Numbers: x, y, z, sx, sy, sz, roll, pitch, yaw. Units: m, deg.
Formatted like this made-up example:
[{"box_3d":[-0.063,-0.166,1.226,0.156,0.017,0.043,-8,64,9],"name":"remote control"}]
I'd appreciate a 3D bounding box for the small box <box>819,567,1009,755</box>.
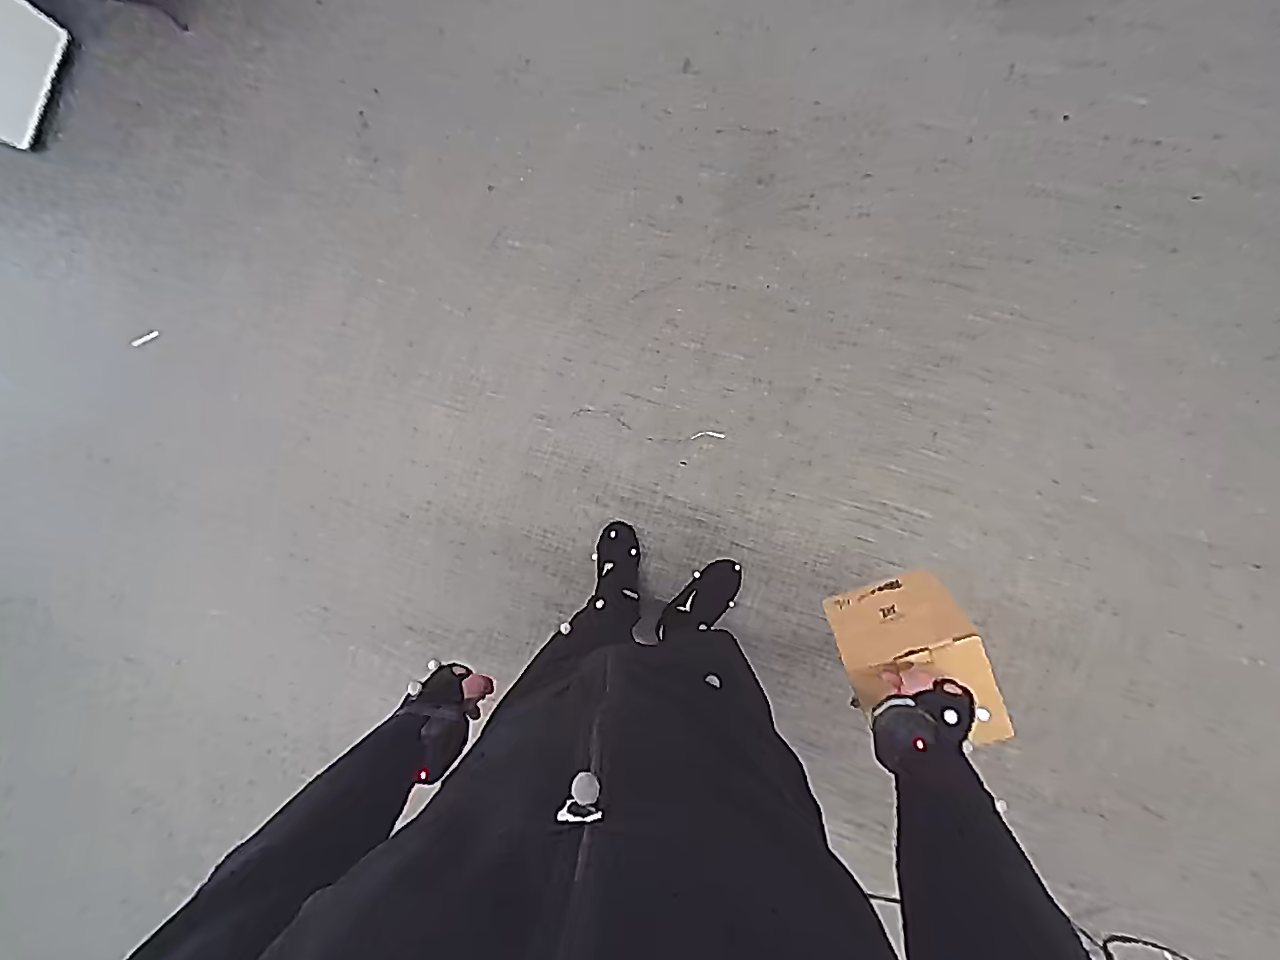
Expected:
[{"box_3d":[0.384,0.261,0.776,0.168,0.179,0.176,-27,104,13],"name":"small box"}]
